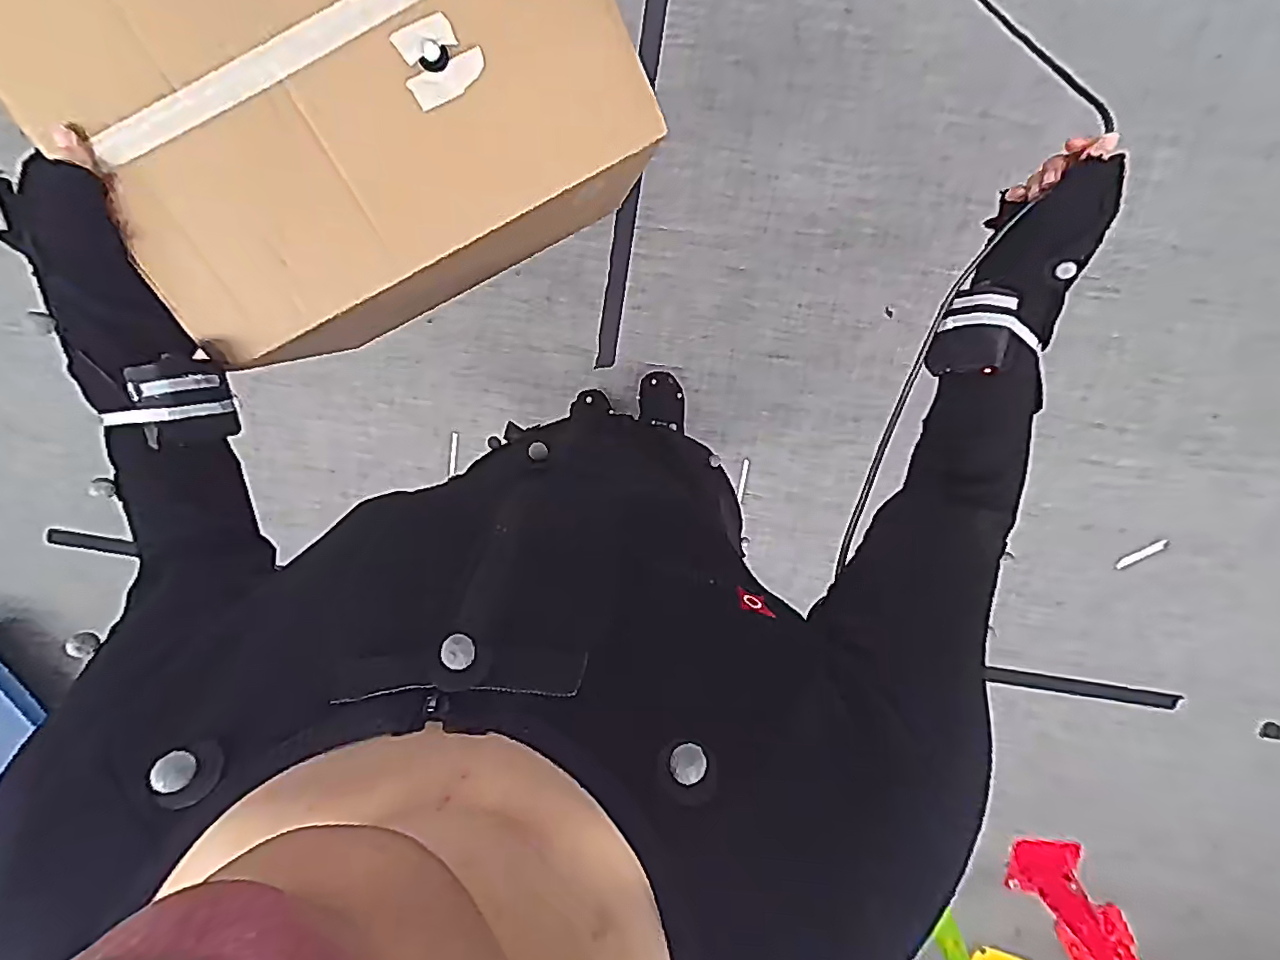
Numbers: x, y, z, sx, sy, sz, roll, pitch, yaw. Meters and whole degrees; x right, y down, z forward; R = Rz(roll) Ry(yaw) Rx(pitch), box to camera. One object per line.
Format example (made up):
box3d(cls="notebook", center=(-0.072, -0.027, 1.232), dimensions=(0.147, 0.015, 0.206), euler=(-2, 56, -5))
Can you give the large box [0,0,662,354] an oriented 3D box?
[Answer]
box3d(cls="large box", center=(-0.244, -0.360, 0.532), dimensions=(0.408, 0.320, 0.320), euler=(-29, 109, 0))
